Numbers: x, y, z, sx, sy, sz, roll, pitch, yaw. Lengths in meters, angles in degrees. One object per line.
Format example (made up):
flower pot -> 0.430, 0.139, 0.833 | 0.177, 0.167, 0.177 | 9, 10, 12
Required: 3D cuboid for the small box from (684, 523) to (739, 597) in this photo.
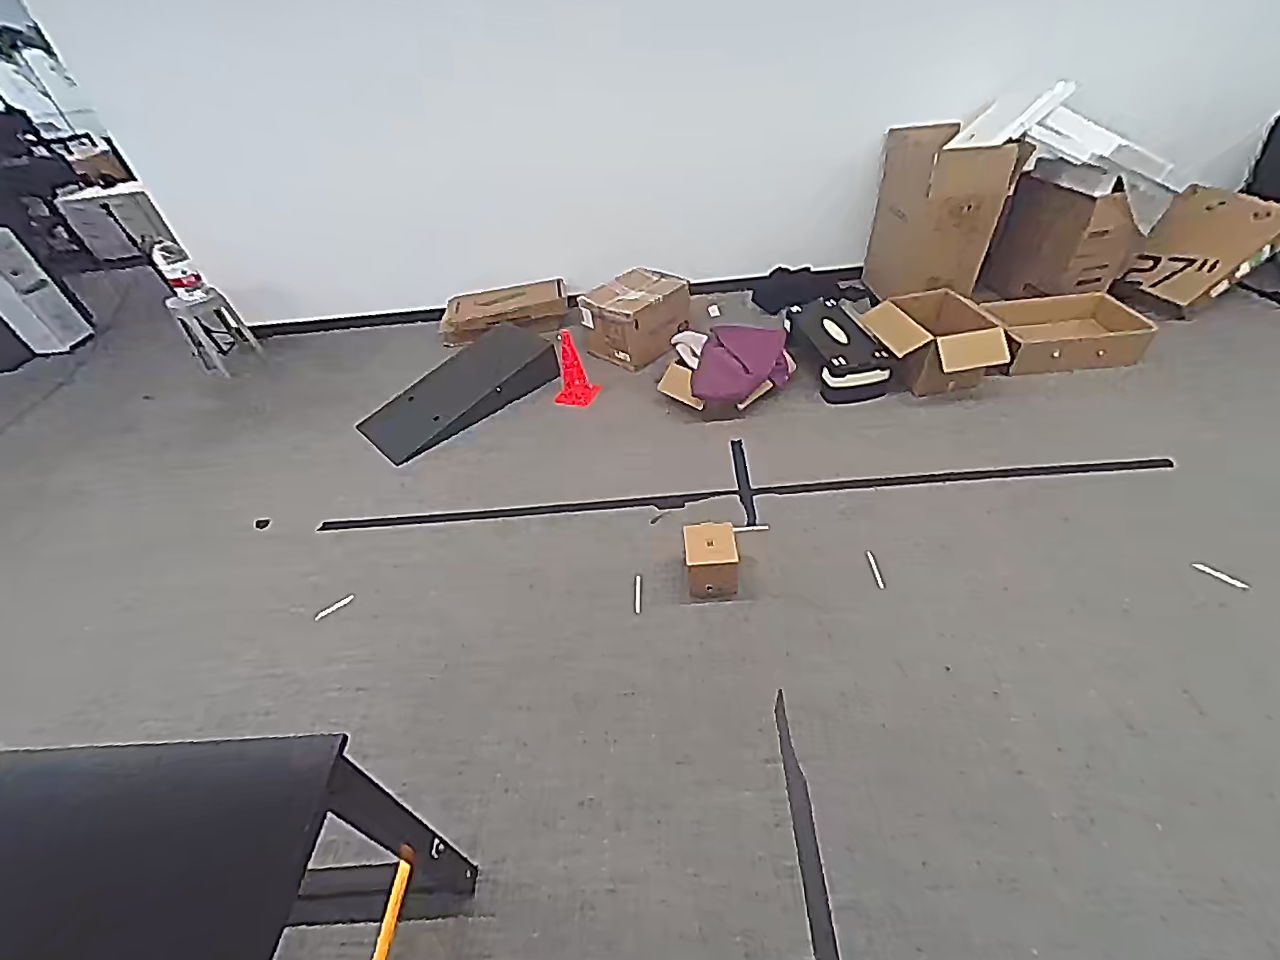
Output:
small box -> 0.236, 0.269, 1.810 | 0.168, 0.176, 0.179 | -6, 43, 4
